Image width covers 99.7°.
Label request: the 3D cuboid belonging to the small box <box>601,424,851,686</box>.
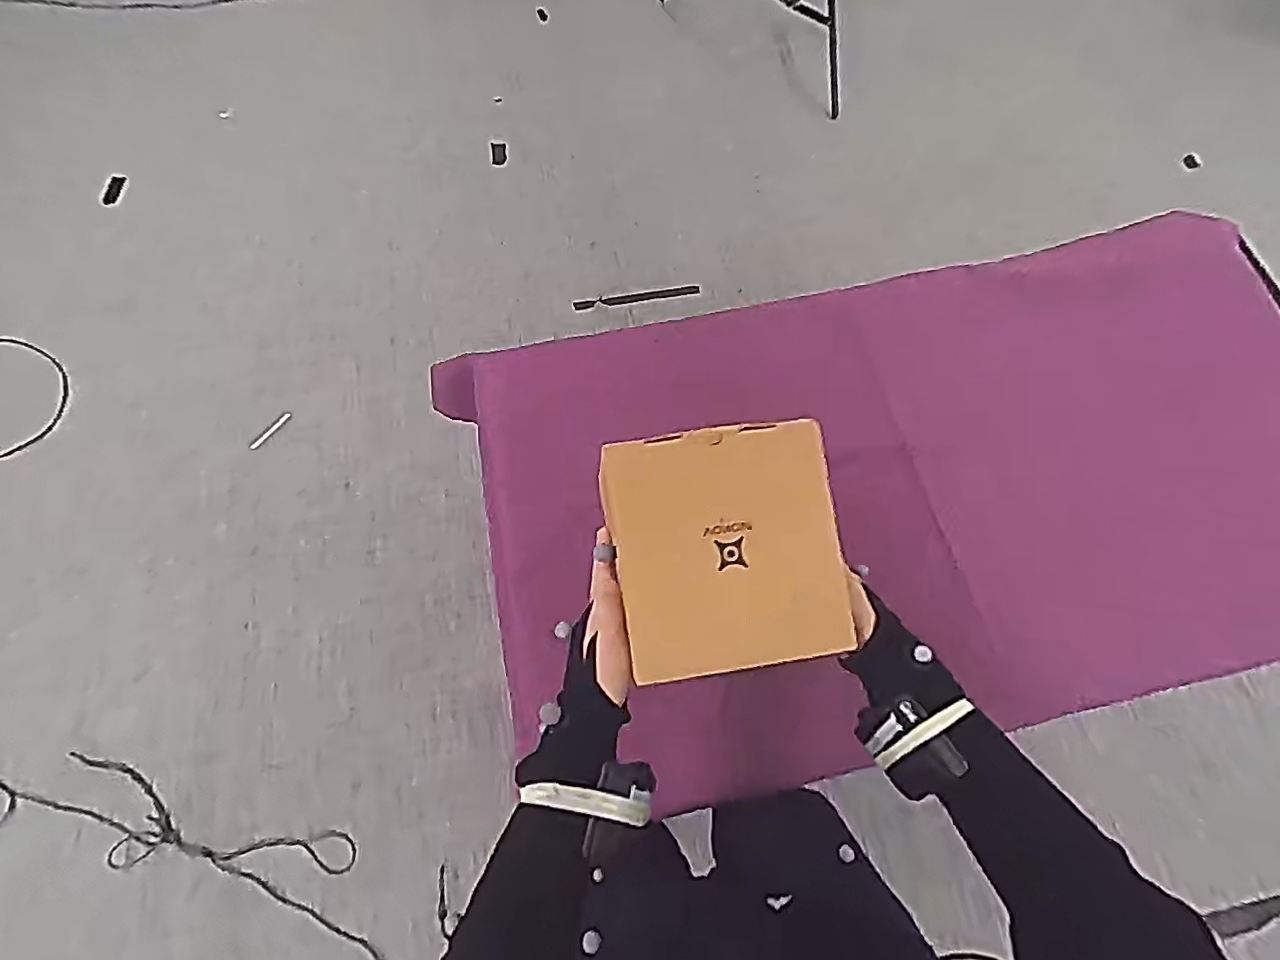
[{"bbox_3d":[0.058,0.059,0.473,0.168,0.176,0.179,-7,84,-5],"label":"small box"}]
